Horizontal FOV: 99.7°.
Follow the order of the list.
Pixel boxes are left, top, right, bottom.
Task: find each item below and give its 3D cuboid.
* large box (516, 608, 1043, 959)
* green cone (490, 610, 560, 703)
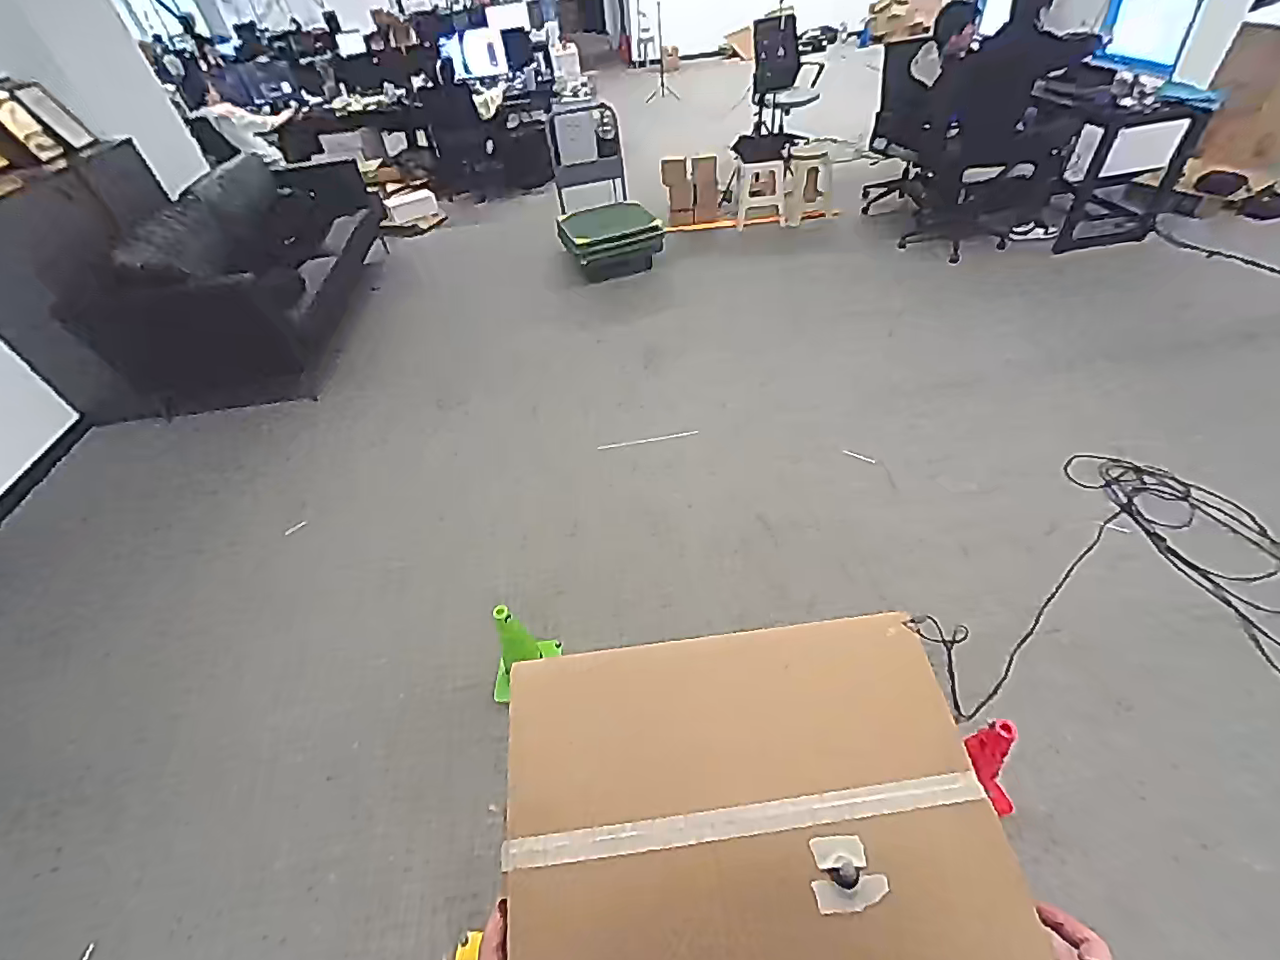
[{"bbox_3d":[0.094,0.368,0.594,0.408,0.320,0.320,-7,56,-3],"label":"large box"},{"bbox_3d":[-0.378,0.493,1.612,0.200,0.368,0.202,-5,46,3],"label":"green cone"}]
